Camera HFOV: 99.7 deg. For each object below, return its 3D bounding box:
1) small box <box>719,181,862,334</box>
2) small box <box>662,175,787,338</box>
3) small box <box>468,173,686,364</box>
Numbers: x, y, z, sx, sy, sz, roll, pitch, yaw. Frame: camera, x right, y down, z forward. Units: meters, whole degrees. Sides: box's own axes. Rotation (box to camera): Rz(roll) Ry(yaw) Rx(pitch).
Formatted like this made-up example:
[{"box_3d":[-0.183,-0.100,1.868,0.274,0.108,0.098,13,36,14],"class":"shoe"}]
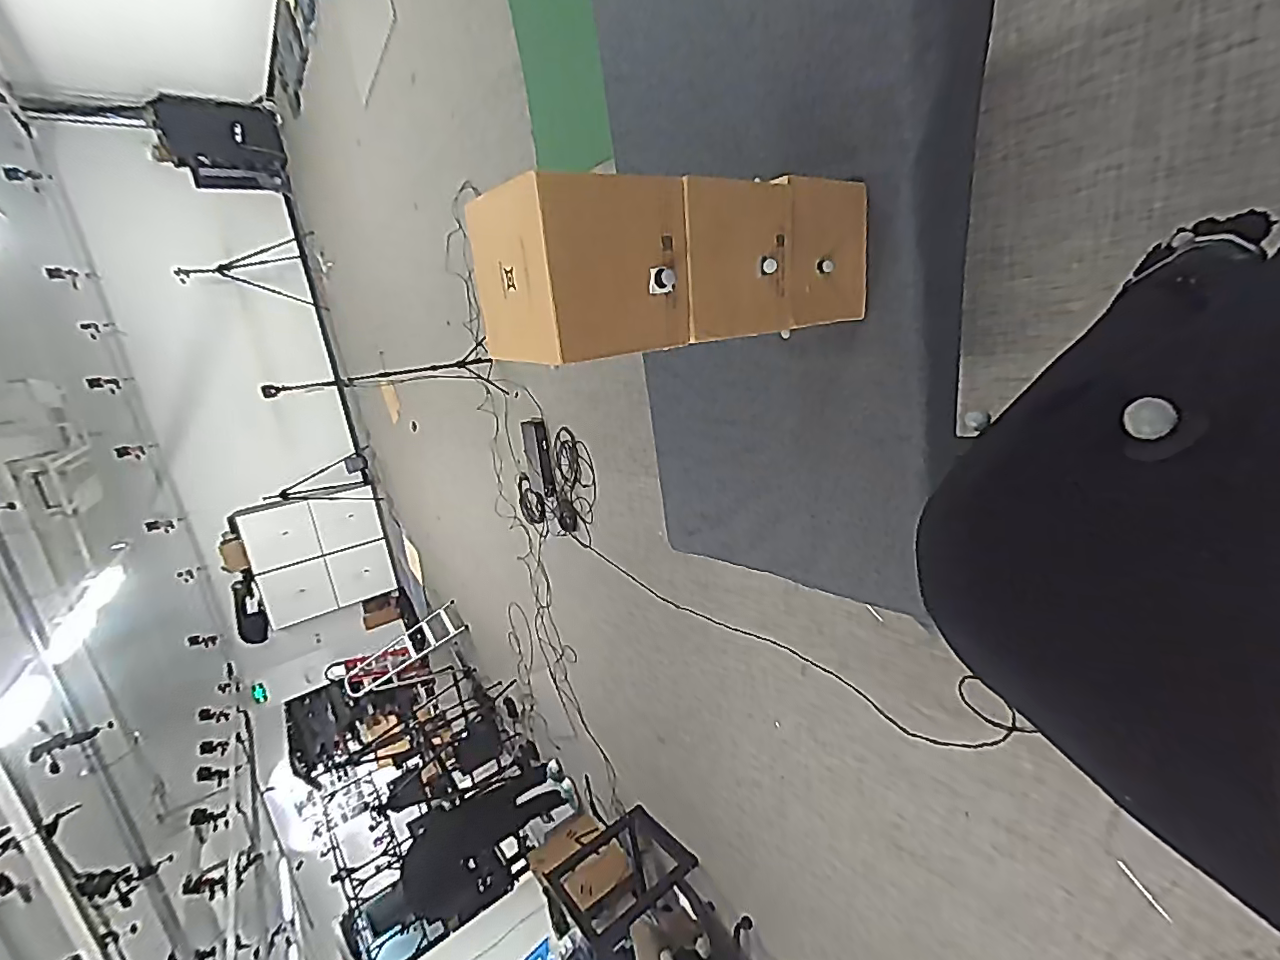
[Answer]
[{"box_3d":[0.198,-0.311,0.771,0.168,0.176,0.179,16,118,52],"class":"small box"},{"box_3d":[0.064,-0.269,0.685,0.179,0.176,0.168,17,118,54],"class":"small box"},{"box_3d":[-0.067,-0.227,0.600,0.179,0.176,0.168,18,121,50],"class":"small box"}]
